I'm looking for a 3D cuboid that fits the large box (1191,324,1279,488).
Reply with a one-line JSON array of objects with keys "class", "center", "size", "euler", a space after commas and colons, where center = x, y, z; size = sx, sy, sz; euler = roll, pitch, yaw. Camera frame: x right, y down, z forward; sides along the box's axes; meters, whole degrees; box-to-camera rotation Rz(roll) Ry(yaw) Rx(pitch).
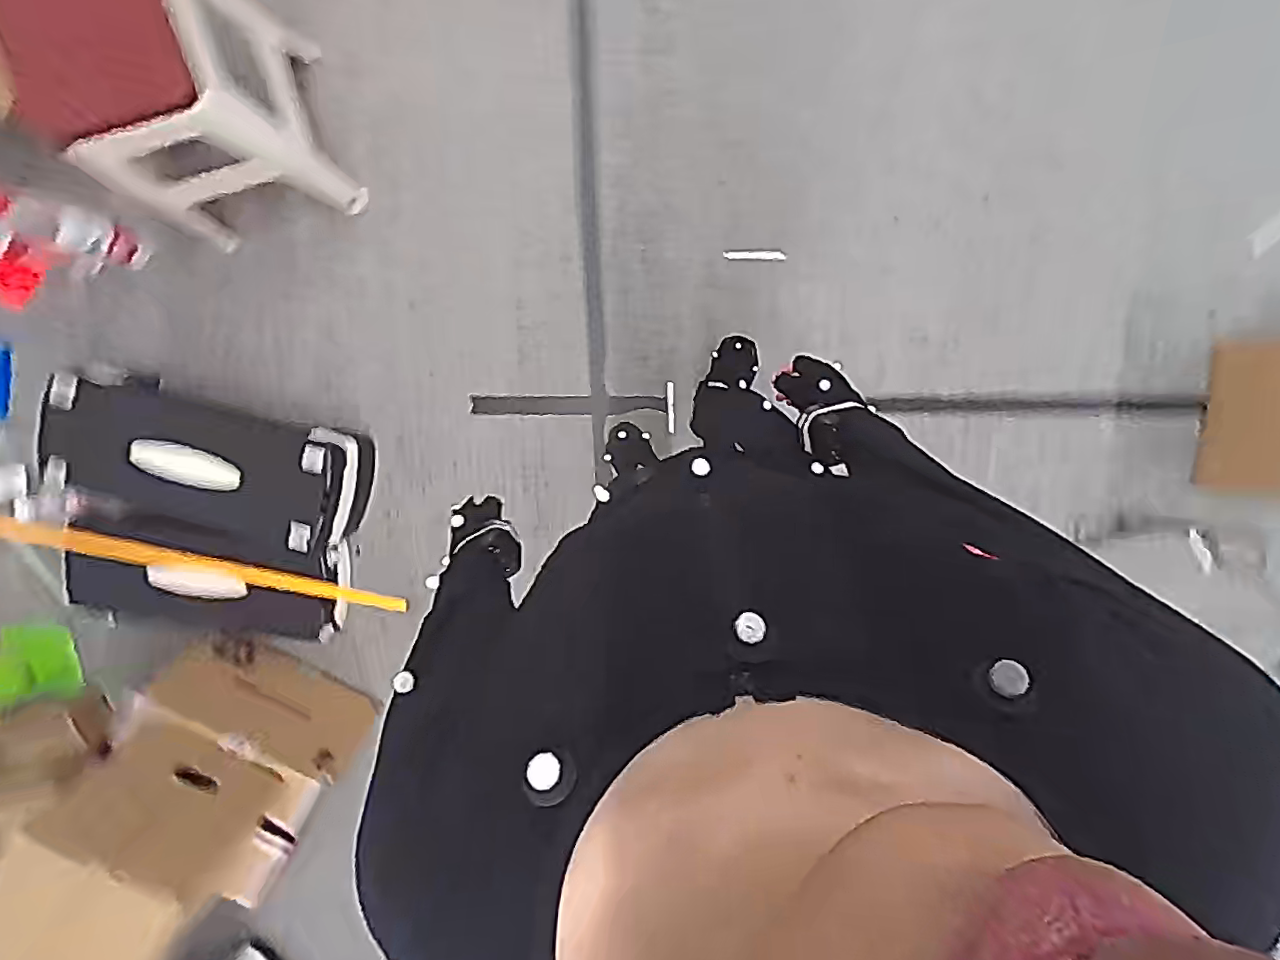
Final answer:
[{"class": "large box", "center": [1.707, -0.193, 1.359], "size": [0.320, 0.320, 0.408], "euler": [-2, 100, -2]}]
